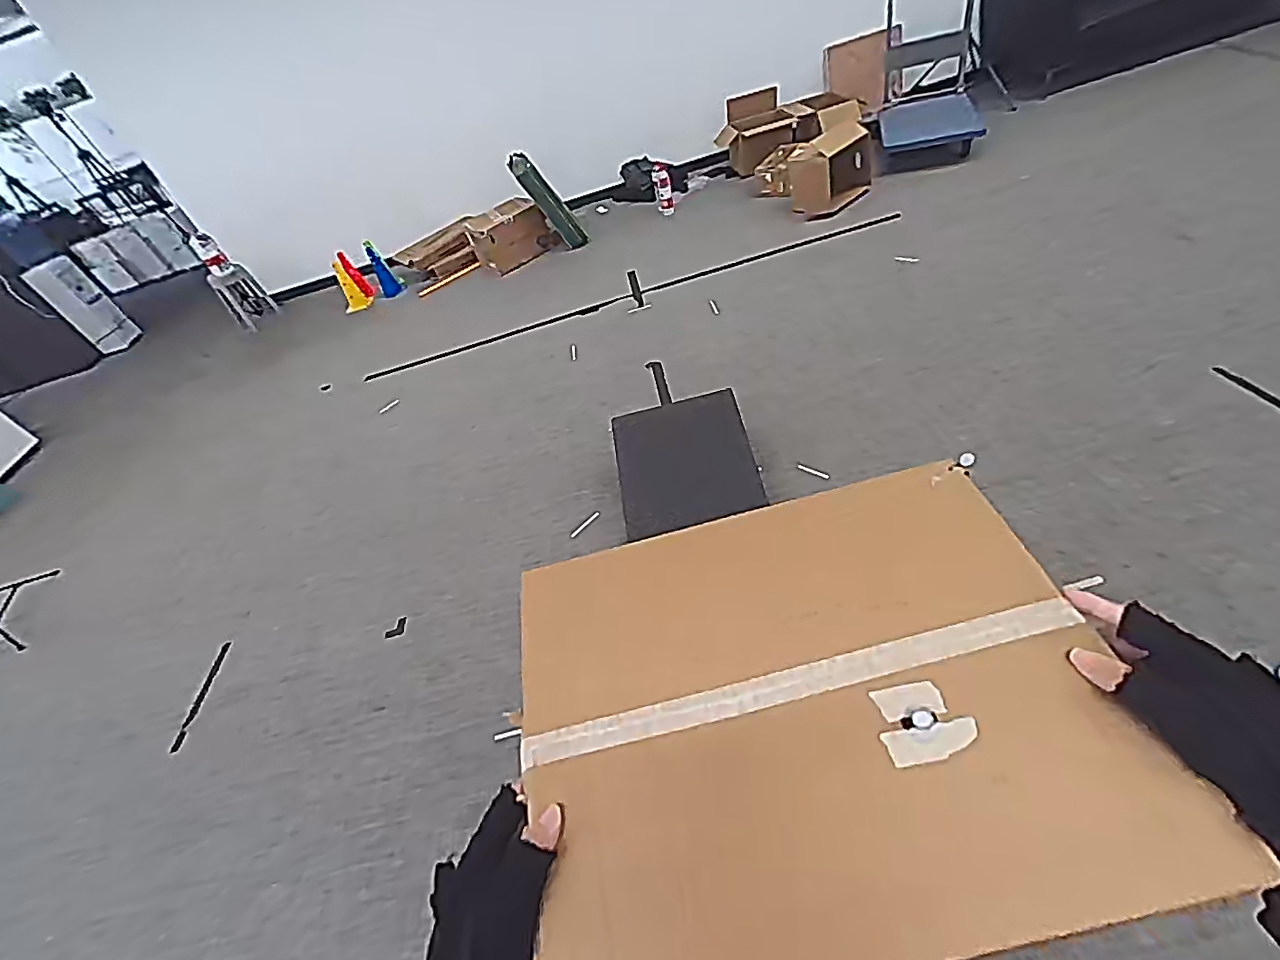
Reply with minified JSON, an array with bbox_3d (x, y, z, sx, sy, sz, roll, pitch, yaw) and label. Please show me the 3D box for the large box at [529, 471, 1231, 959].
[{"bbox_3d":[0.142,0.249,0.513,0.408,0.320,0.320,-15,49,1],"label":"large box"}]
